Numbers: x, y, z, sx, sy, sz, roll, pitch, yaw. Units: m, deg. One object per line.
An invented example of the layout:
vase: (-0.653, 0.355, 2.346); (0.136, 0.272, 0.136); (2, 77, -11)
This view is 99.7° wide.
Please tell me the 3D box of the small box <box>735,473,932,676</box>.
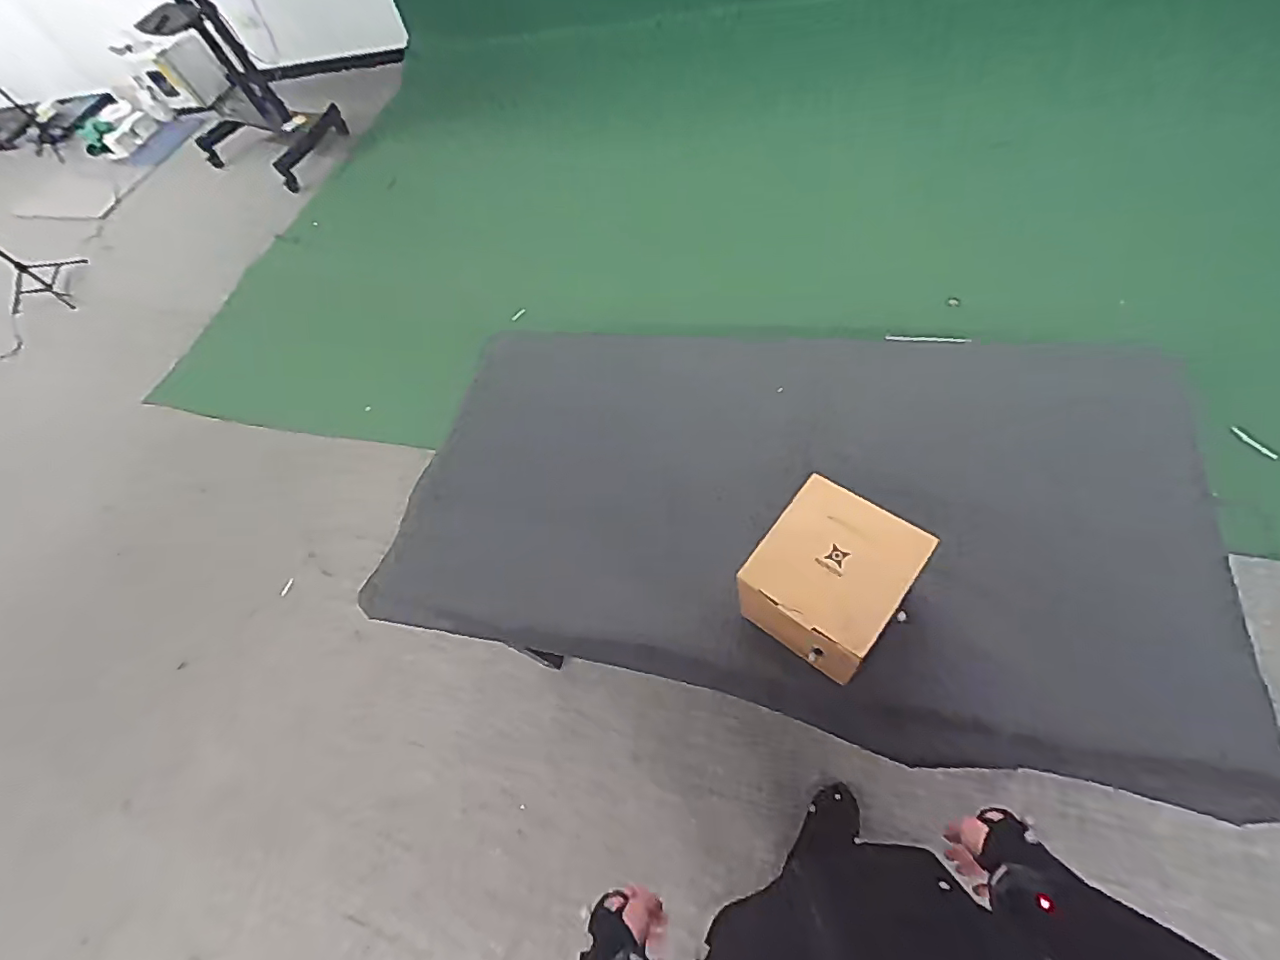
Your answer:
small box: (0.244, 0.130, 0.709); (0.168, 0.176, 0.179); (32, 72, 26)
